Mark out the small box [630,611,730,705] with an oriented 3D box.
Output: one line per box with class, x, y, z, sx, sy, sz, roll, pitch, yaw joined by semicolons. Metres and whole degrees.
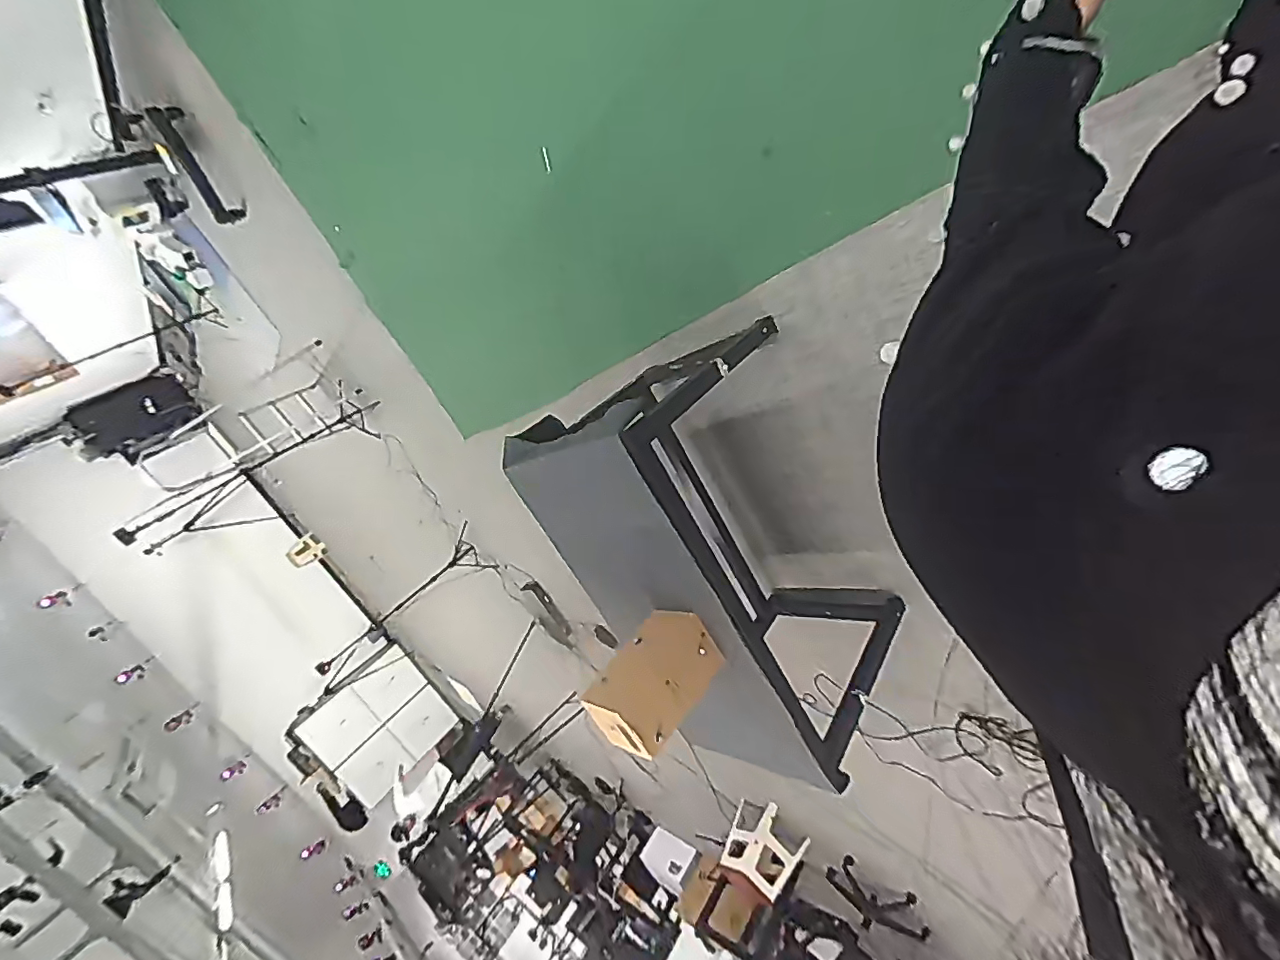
small box;0.112;0.474;1.470;0.179;0.176;0.168;-13;115;51
